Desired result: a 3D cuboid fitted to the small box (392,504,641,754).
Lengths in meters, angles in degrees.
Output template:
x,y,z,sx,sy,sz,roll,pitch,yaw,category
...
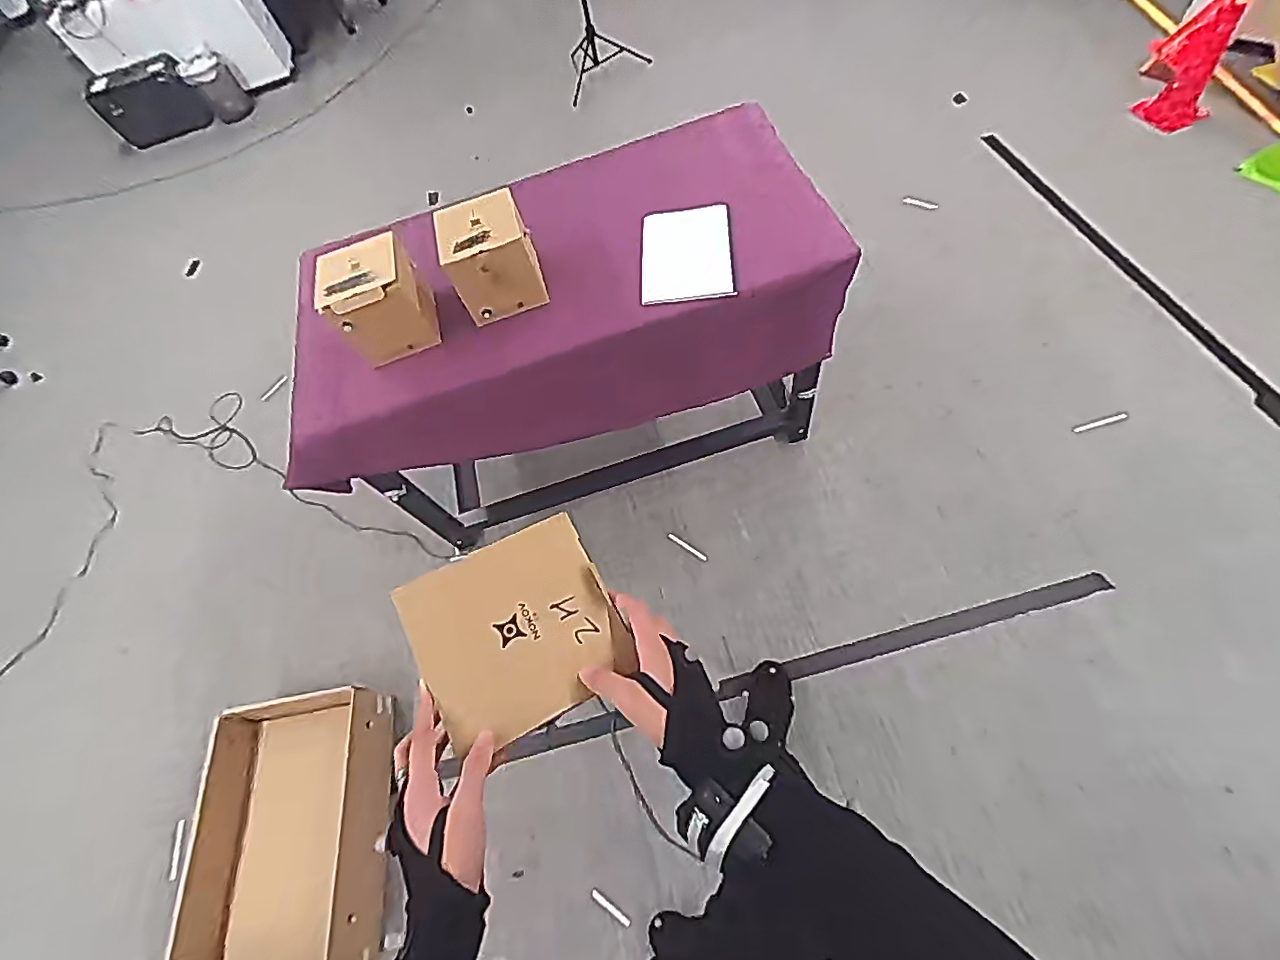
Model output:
x,y,z,sx,sy,sz,roll,pitch,yaw,category
-0.121,0.155,0.553,0.179,0.176,0.168,-24,72,-20,small box
